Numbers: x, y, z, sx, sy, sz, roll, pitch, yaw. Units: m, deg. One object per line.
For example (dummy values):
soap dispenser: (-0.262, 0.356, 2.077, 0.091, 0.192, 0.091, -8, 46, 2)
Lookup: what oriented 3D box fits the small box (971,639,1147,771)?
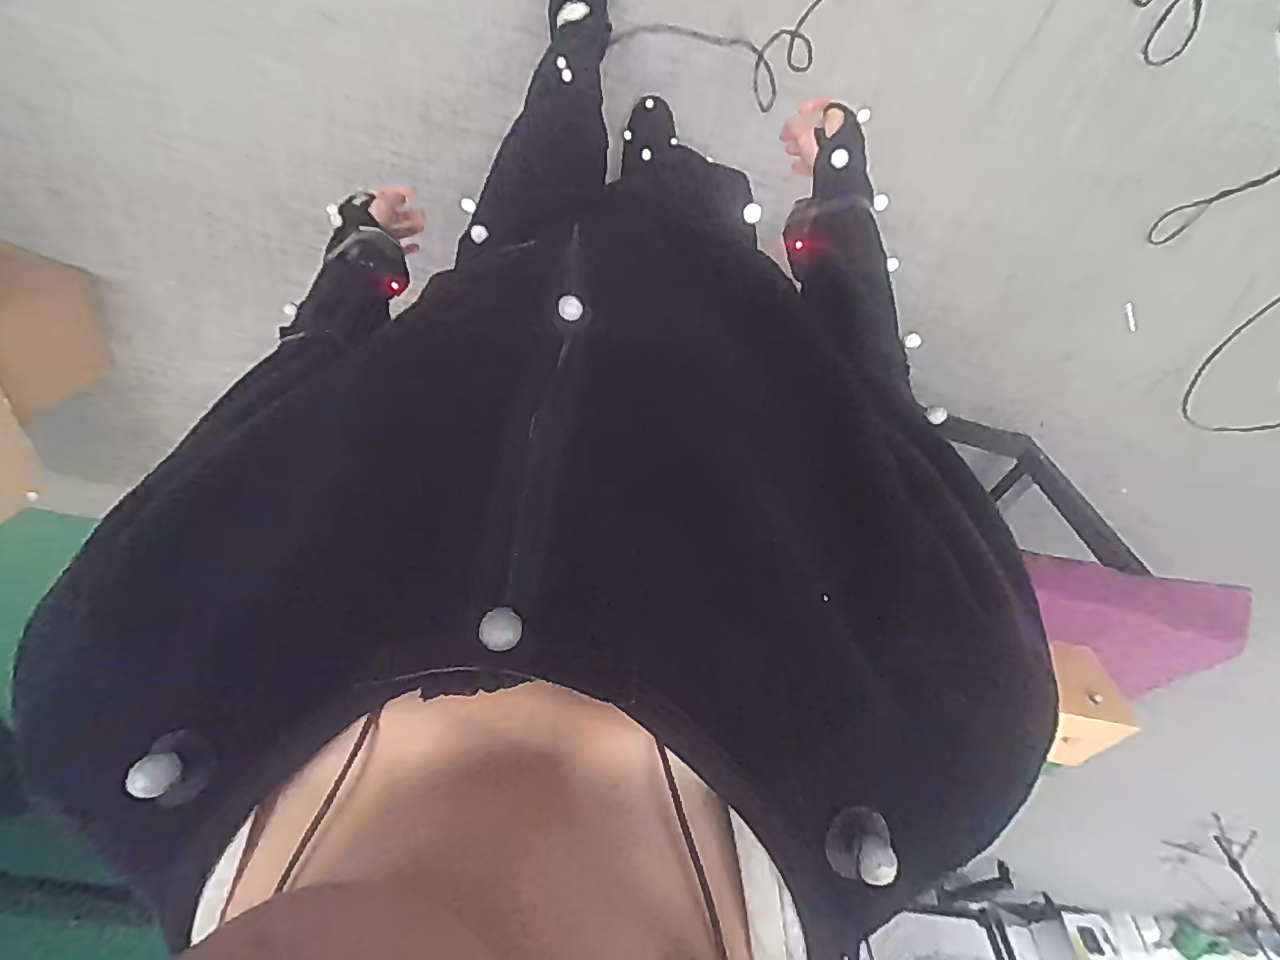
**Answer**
small box: (0.794, 0.433, 1.050, 0.179, 0.176, 0.168, 12, 128, -8)
